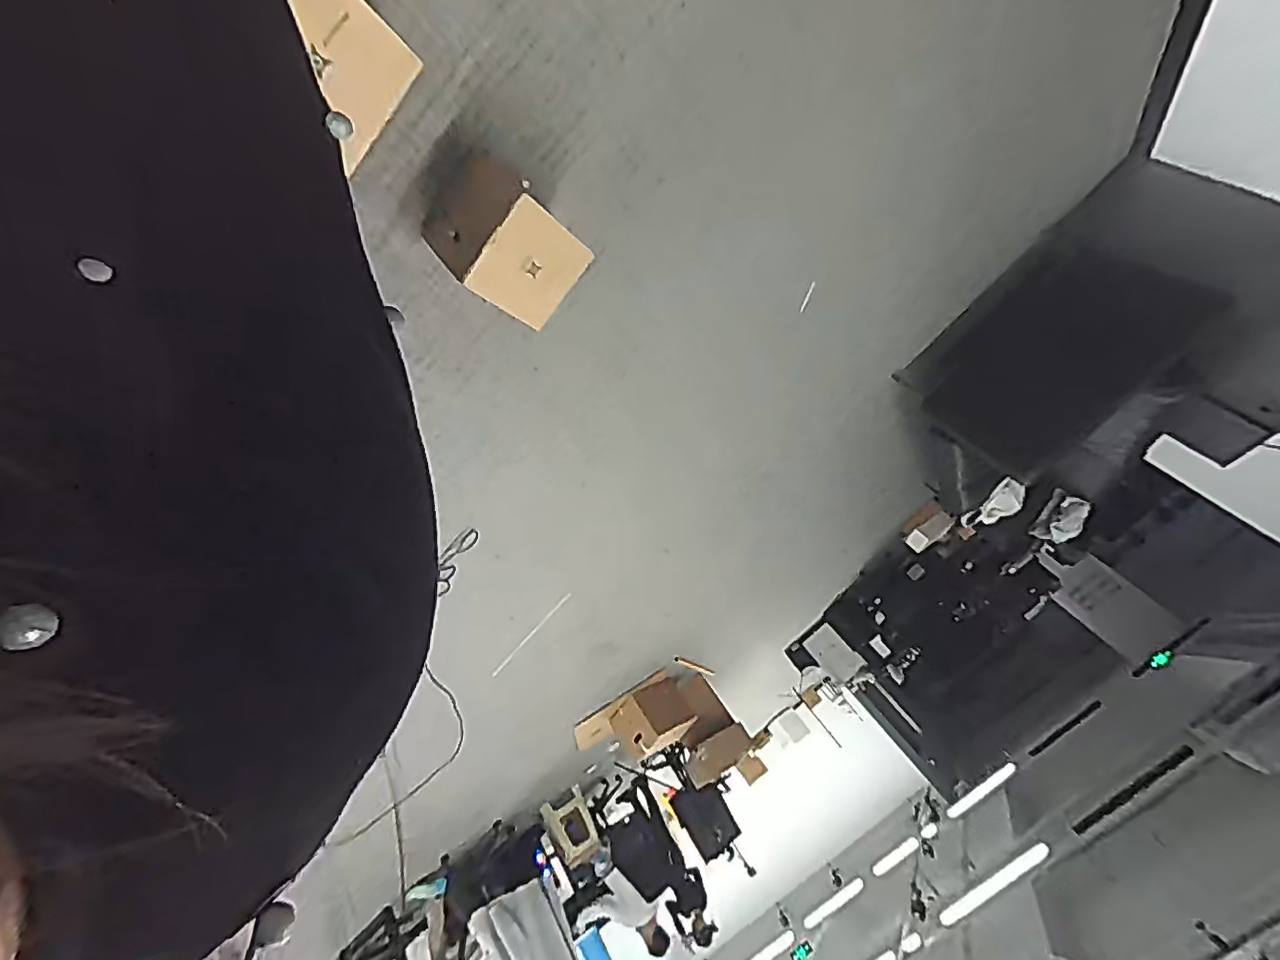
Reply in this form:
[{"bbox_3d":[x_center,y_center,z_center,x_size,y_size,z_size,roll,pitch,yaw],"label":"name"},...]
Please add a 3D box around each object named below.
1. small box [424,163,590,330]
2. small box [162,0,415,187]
[{"bbox_3d":[-0.224,-0.390,0.898,0.168,0.176,0.179,-48,149,15],"label":"small box"},{"bbox_3d":[-0.392,-0.479,0.600,0.179,0.176,0.168,-48,148,12],"label":"small box"}]
